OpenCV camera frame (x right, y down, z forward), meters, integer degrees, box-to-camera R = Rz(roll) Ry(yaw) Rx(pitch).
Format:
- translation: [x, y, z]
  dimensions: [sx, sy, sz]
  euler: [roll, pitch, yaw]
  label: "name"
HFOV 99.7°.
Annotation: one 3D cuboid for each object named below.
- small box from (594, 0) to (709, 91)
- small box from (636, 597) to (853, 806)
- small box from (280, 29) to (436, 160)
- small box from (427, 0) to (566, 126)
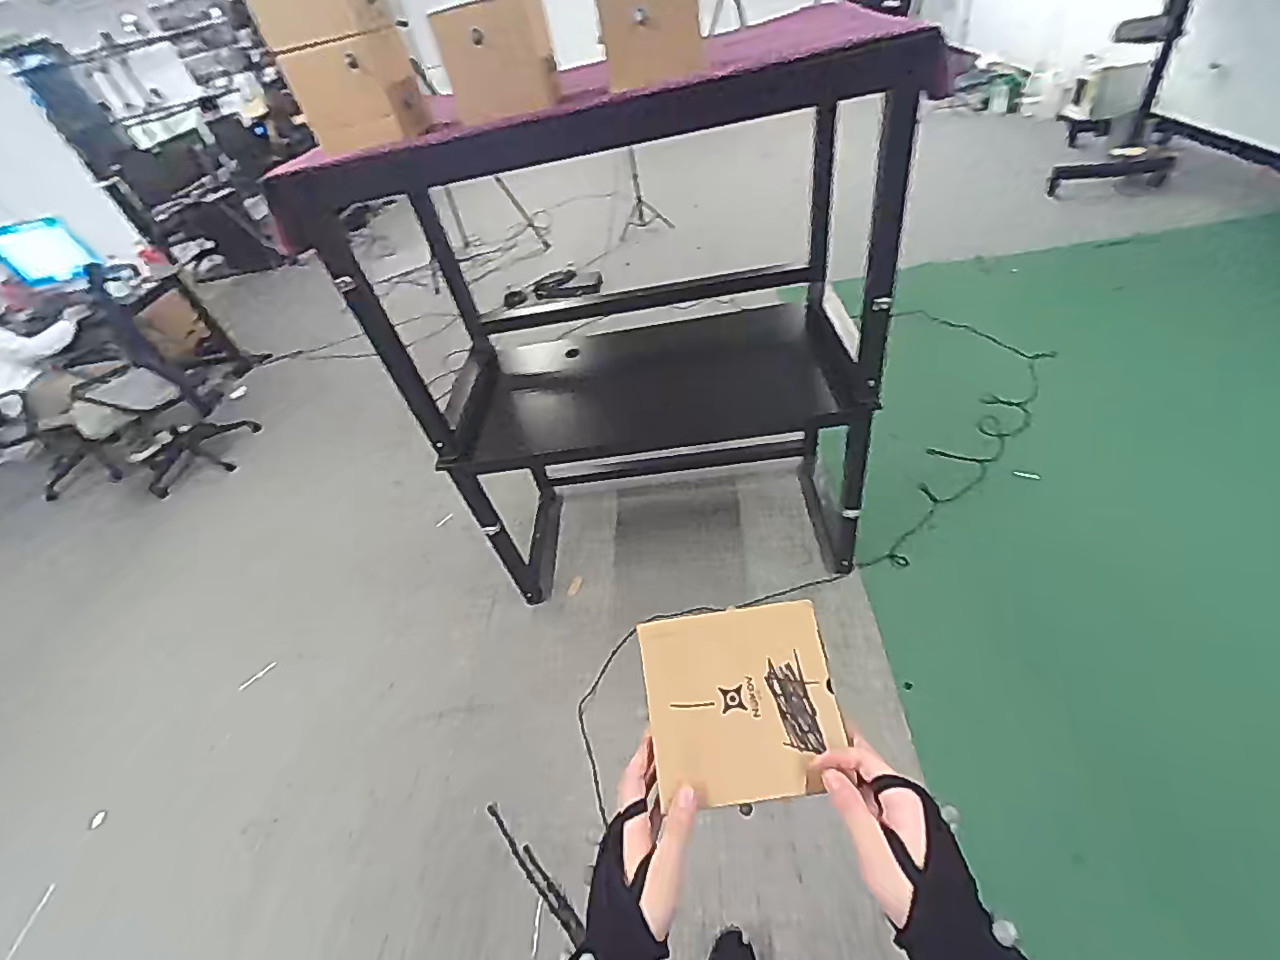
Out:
- translation: [0.023, -0.820, 0.961]
  dimensions: [0.179, 0.176, 0.168]
  euler: [-6, 44, 12]
  label: "small box"
- translation: [0.097, 0.233, 0.574]
  dimensions: [0.179, 0.176, 0.168]
  euler: [-9, 63, 1]
  label: "small box"
- translation: [-0.531, -0.742, 1.046]
  dimensions: [0.179, 0.176, 0.168]
  euler: [-6, 44, 9]
  label: "small box"
- translation: [-0.256, -0.784, 1.007]
  dimensions: [0.179, 0.176, 0.168]
  euler: [-6, 44, 10]
  label: "small box"
